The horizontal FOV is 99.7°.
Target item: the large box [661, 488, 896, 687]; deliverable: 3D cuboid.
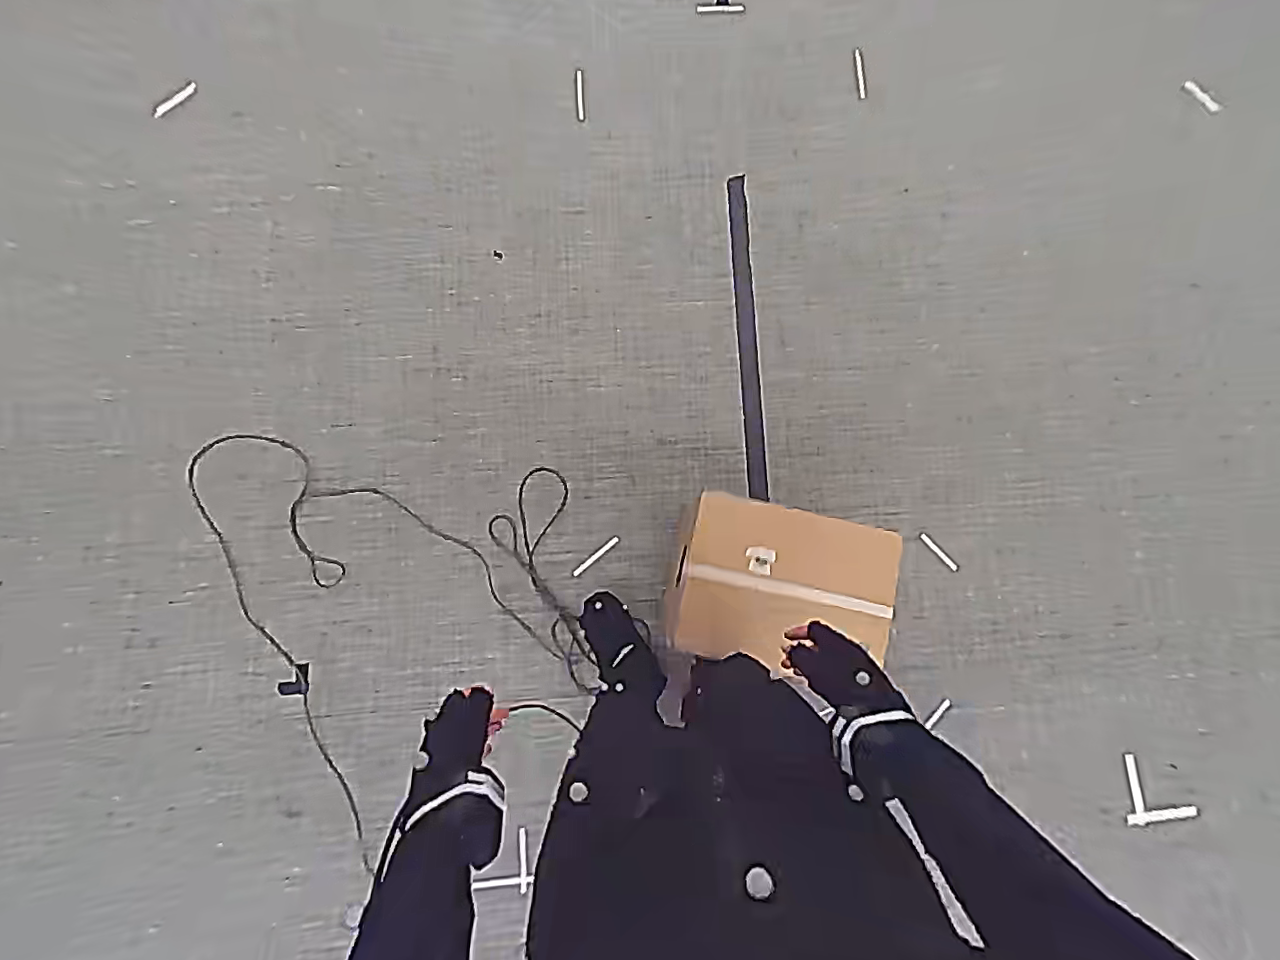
[{"bbox_3d":[0.279,0.221,1.197,0.408,0.320,0.320,14,83,1],"label":"large box"}]
